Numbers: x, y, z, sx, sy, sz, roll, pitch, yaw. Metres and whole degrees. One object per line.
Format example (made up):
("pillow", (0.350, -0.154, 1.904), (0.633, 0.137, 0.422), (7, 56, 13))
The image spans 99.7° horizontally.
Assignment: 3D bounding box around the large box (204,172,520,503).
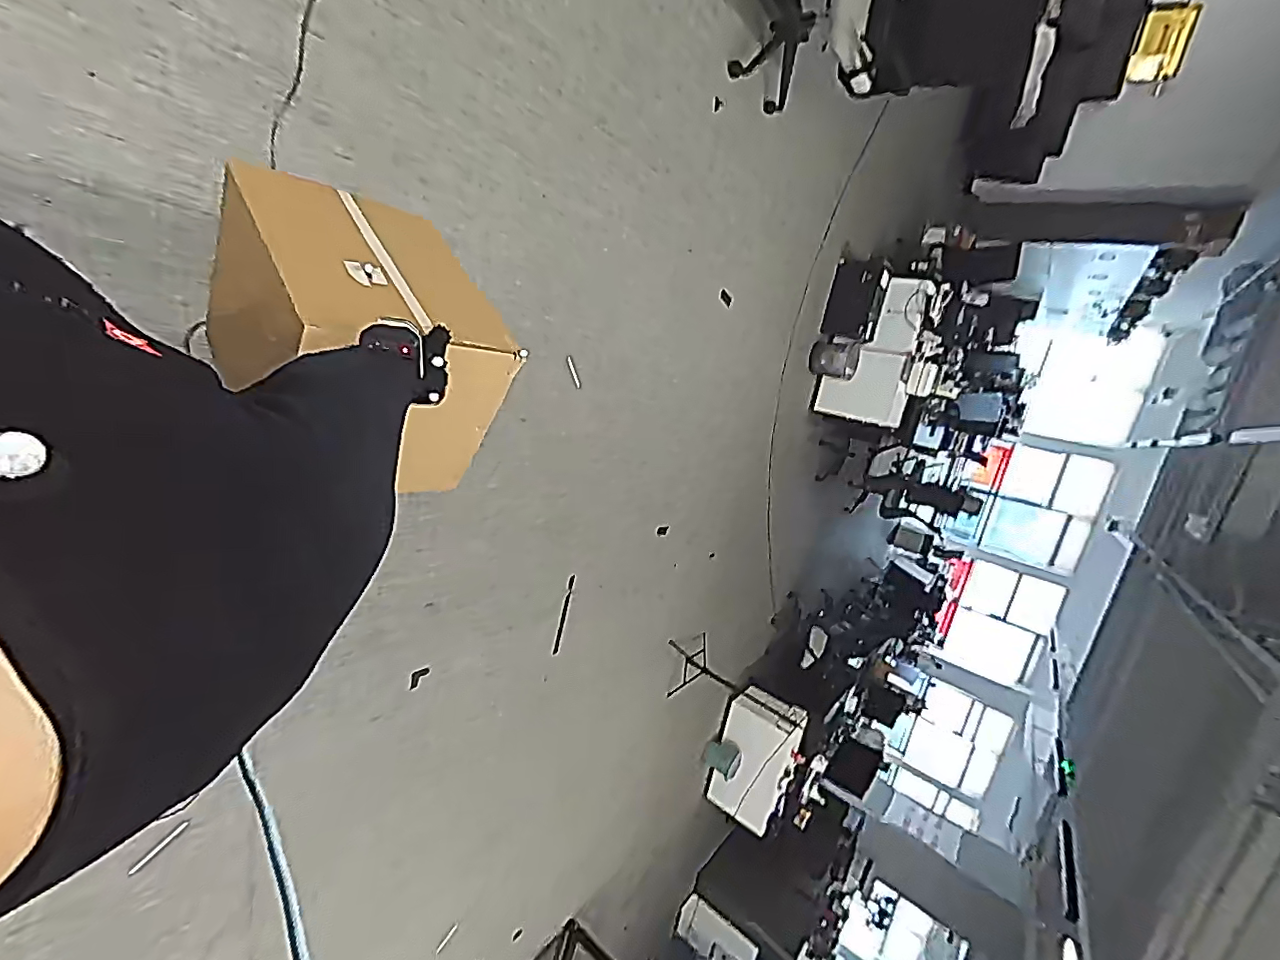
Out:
("large box", (-0.480, -0.219, 0.909), (0.320, 0.408, 0.320), (-7, 142, -49))
